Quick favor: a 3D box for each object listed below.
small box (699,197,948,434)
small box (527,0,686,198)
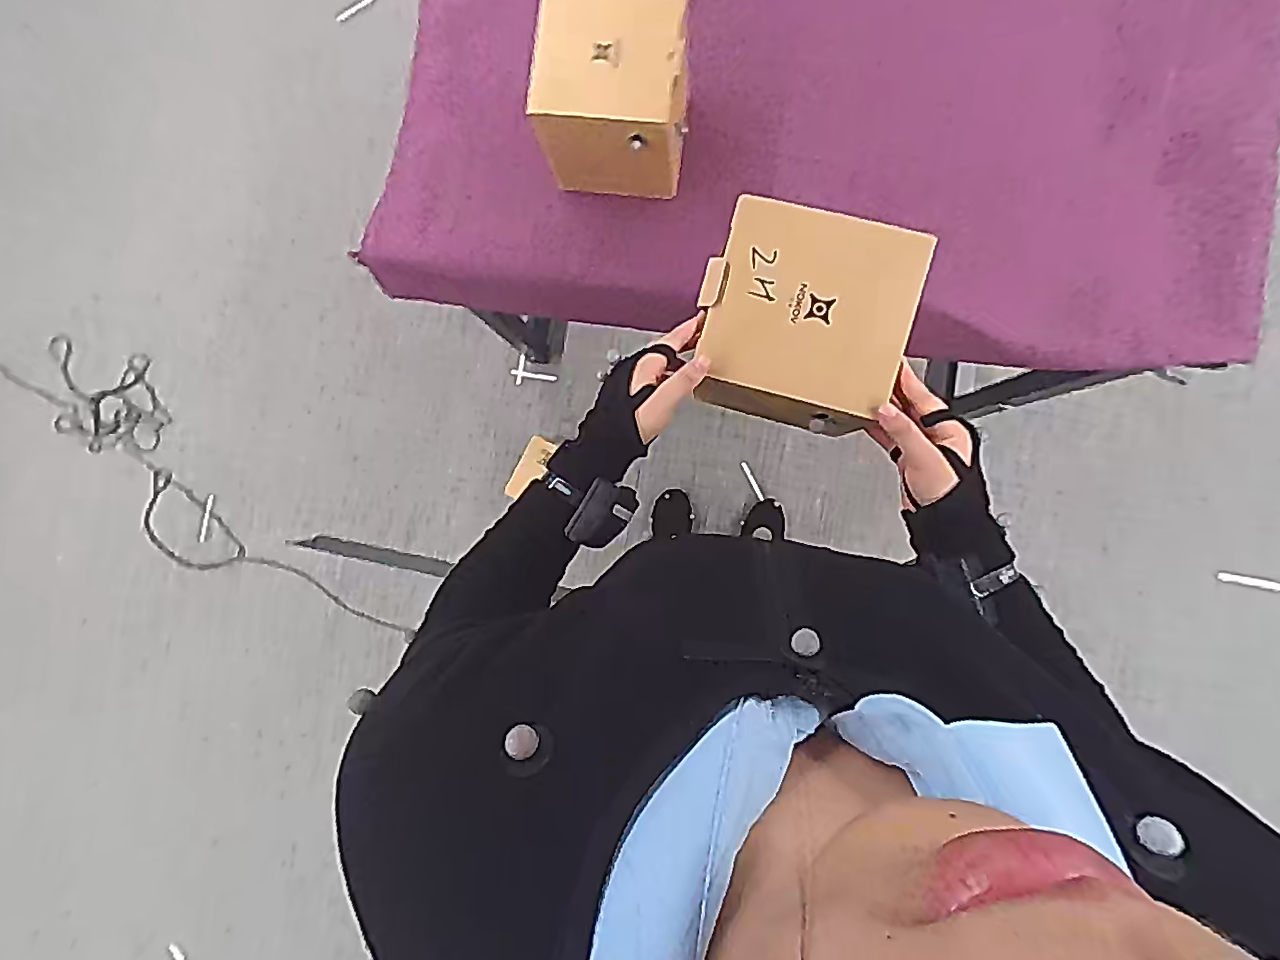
[{"bbox_3d":[0.167,-0.149,0.551,0.179,0.176,0.168,17,91,7],"label":"small box"},{"bbox_3d":[-0.035,-0.506,0.728,0.179,0.176,0.168,7,88,4],"label":"small box"}]
